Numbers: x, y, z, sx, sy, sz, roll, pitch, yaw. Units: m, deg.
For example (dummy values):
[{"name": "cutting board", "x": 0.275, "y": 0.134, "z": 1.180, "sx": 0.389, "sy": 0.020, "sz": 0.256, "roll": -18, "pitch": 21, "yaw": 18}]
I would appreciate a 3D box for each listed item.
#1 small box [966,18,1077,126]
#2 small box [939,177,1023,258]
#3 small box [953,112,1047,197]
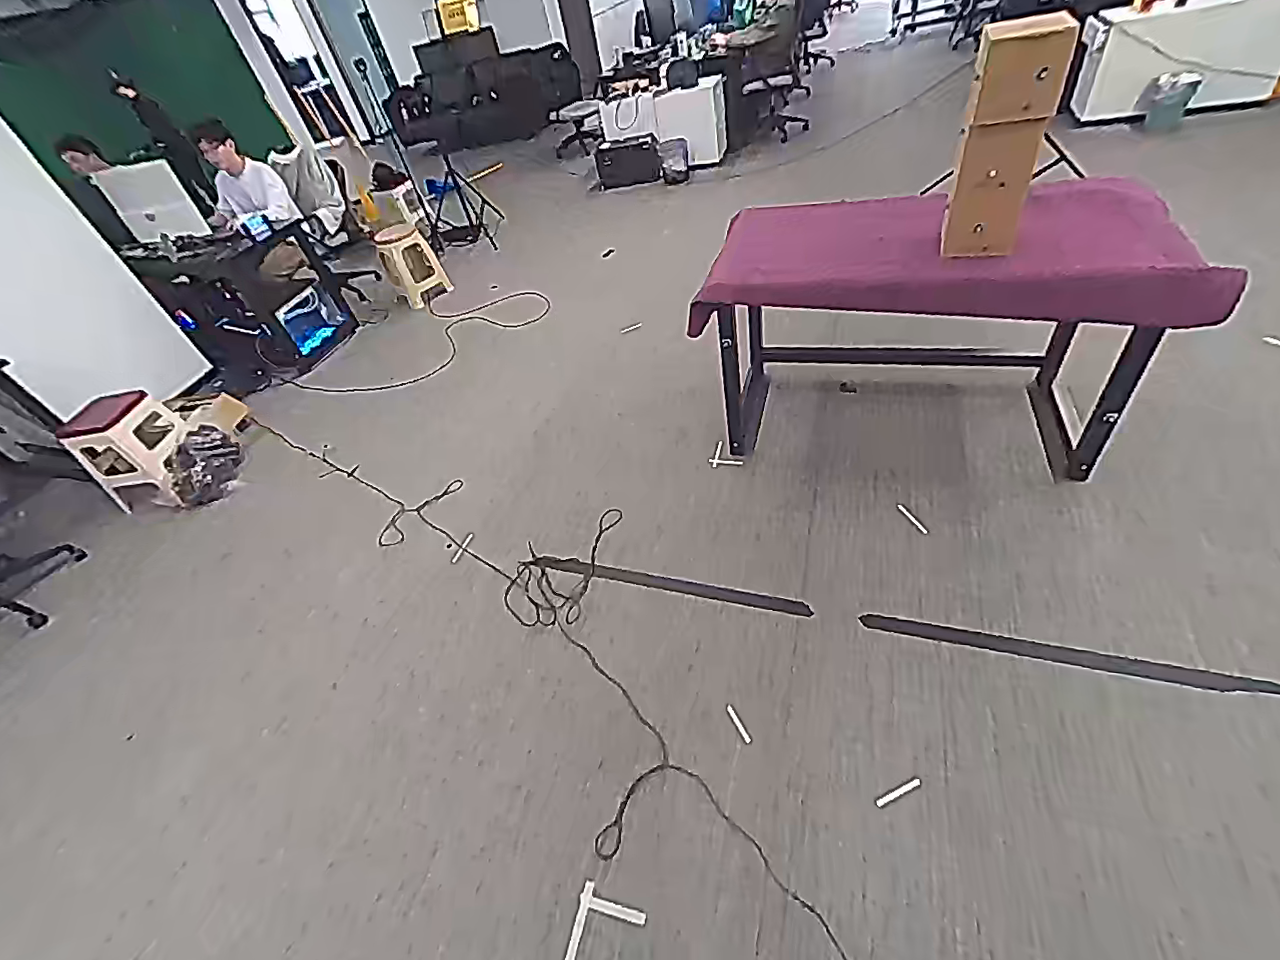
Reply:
[{"name": "small box", "x": 0.881, "y": -0.947, "z": 1.266, "sx": 0.168, "sy": 0.176, "sz": 0.179, "roll": 6, "pitch": 47, "yaw": 19}, {"name": "small box", "x": 0.942, "y": -0.732, "z": 1.505, "sx": 0.168, "sy": 0.176, "sz": 0.179, "roll": 8, "pitch": 48, "yaw": 22}, {"name": "small box", "x": 0.916, "y": -0.849, "z": 1.393, "sx": 0.168, "sy": 0.176, "sz": 0.179, "roll": 8, "pitch": 48, "yaw": 22}]
